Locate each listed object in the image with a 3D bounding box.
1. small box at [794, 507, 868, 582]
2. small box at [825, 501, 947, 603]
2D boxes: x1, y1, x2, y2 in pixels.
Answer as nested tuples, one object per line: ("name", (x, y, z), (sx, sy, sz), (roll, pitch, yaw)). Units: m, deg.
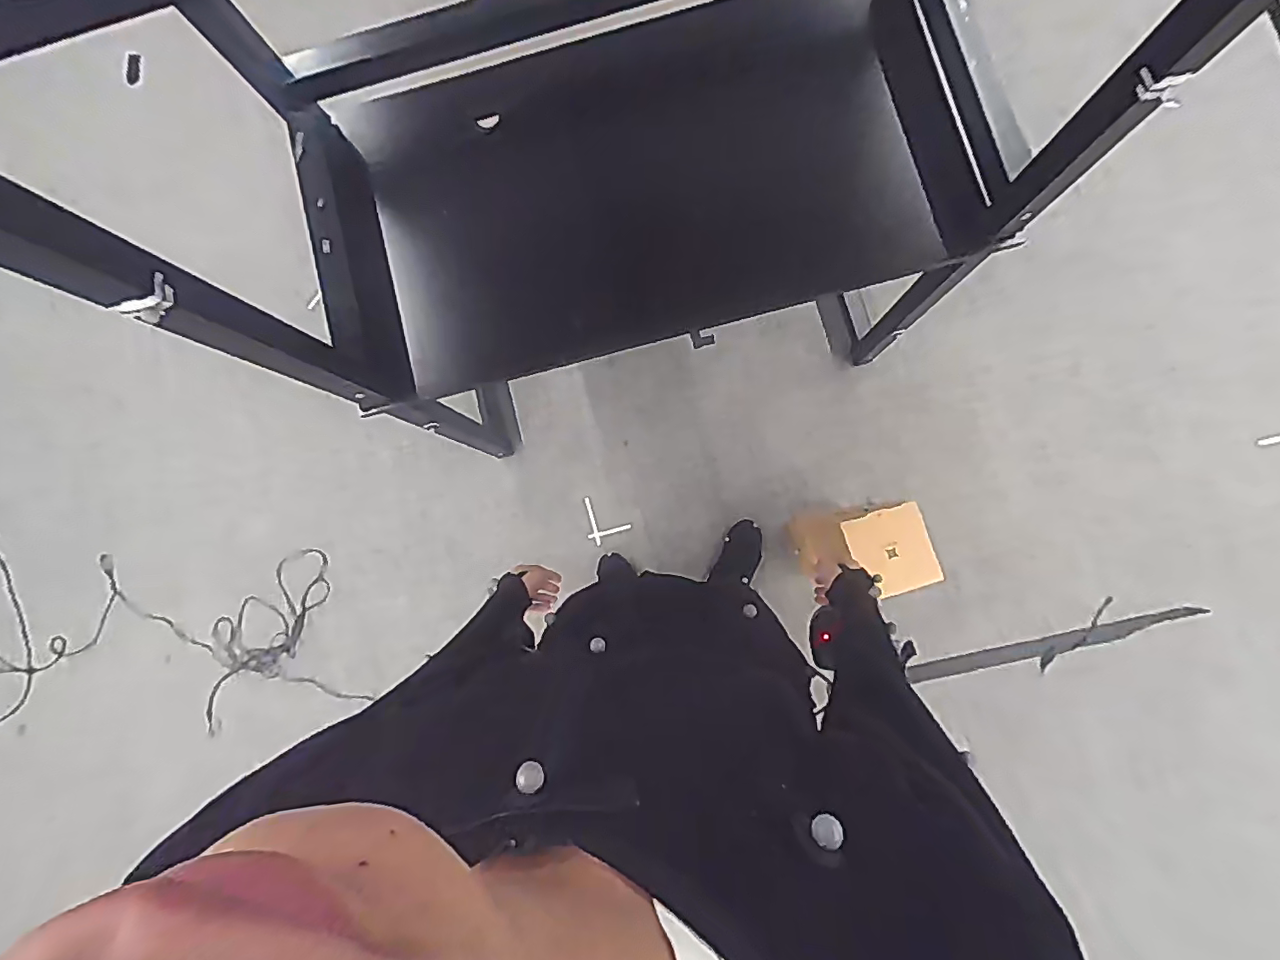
("small box", (0.552, 0.177, 1.518), (0.179, 0.176, 0.168), (-16, 84, 3))
("small box", (0.531, 0.153, 1.192), (0.168, 0.176, 0.179), (-18, 84, 3))
